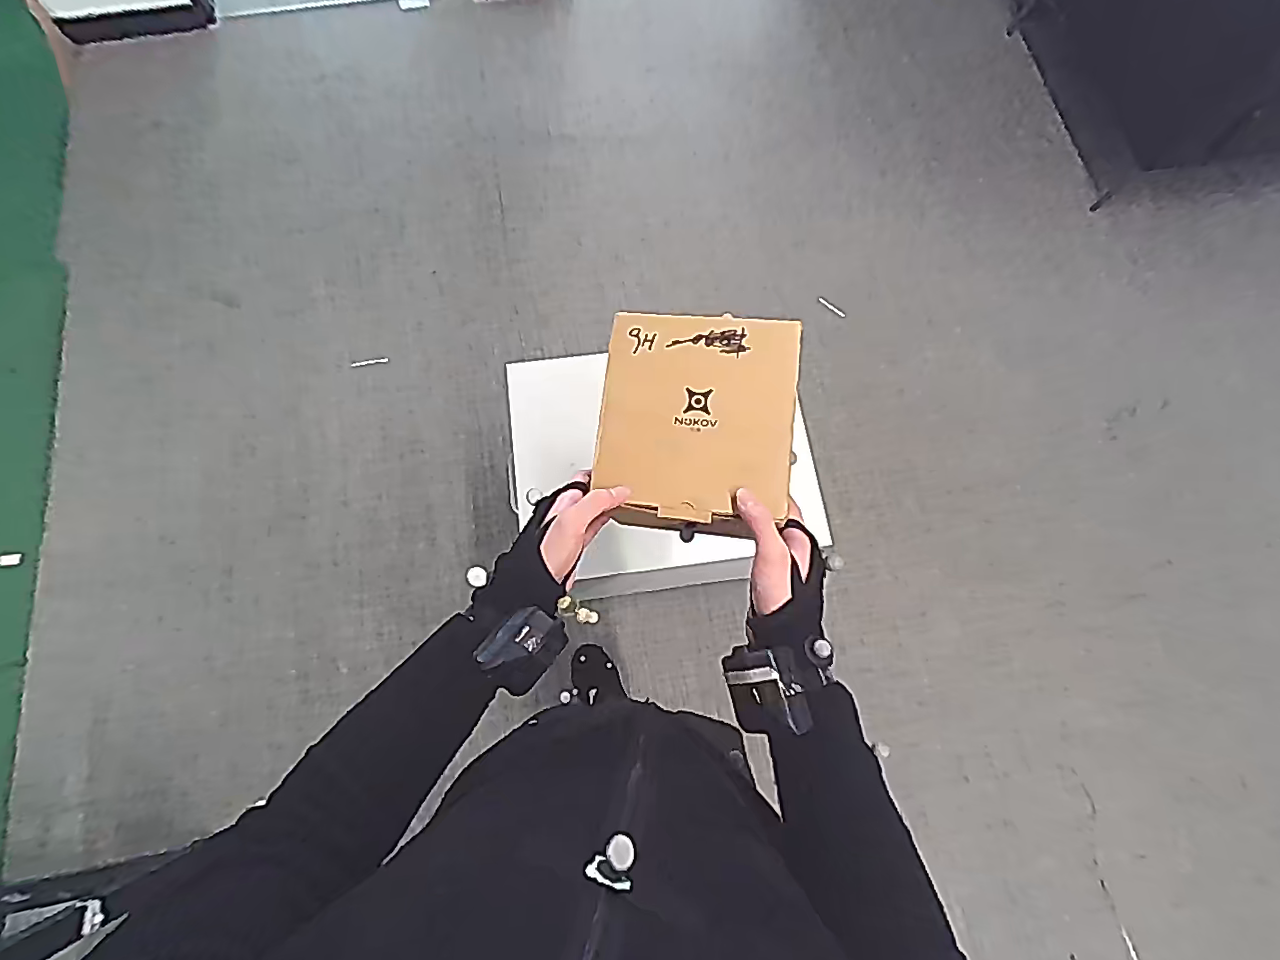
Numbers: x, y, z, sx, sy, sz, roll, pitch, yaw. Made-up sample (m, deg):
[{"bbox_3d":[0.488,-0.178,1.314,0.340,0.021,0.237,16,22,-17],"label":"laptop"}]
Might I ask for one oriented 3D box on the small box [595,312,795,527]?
[{"bbox_3d":[0.060,-0.050,0.549,0.168,0.176,0.179,4,79,9],"label":"small box"}]
